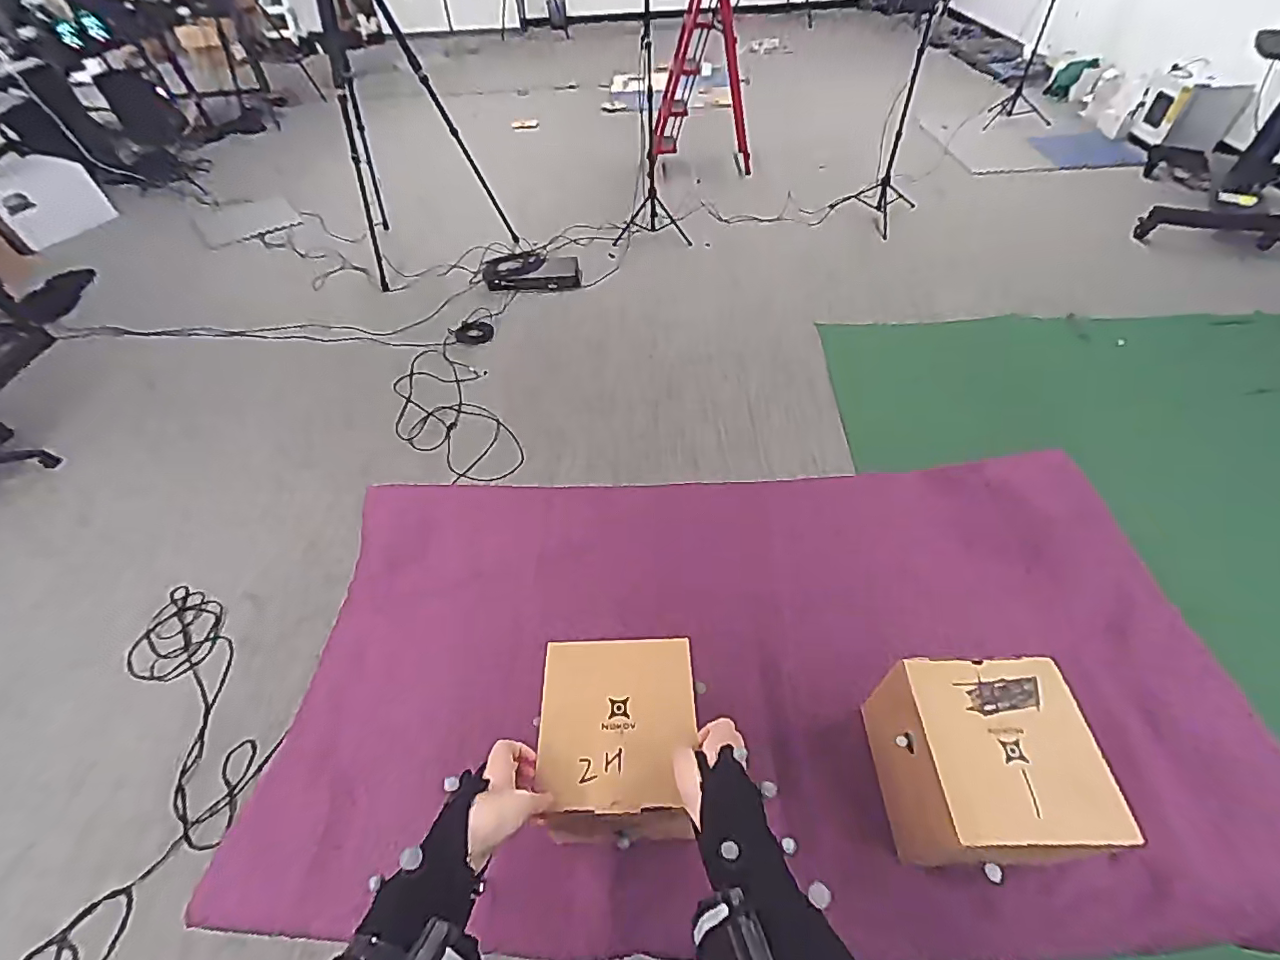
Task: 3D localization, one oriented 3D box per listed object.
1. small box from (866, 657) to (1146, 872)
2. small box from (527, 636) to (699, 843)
[{"bbox_3d":[0.368,0.312,0.592,0.168,0.176,0.179,-1,49,2],"label":"small box"},{"bbox_3d":[-0.024,0.298,0.622,0.168,0.176,0.179,-2,48,1],"label":"small box"}]
